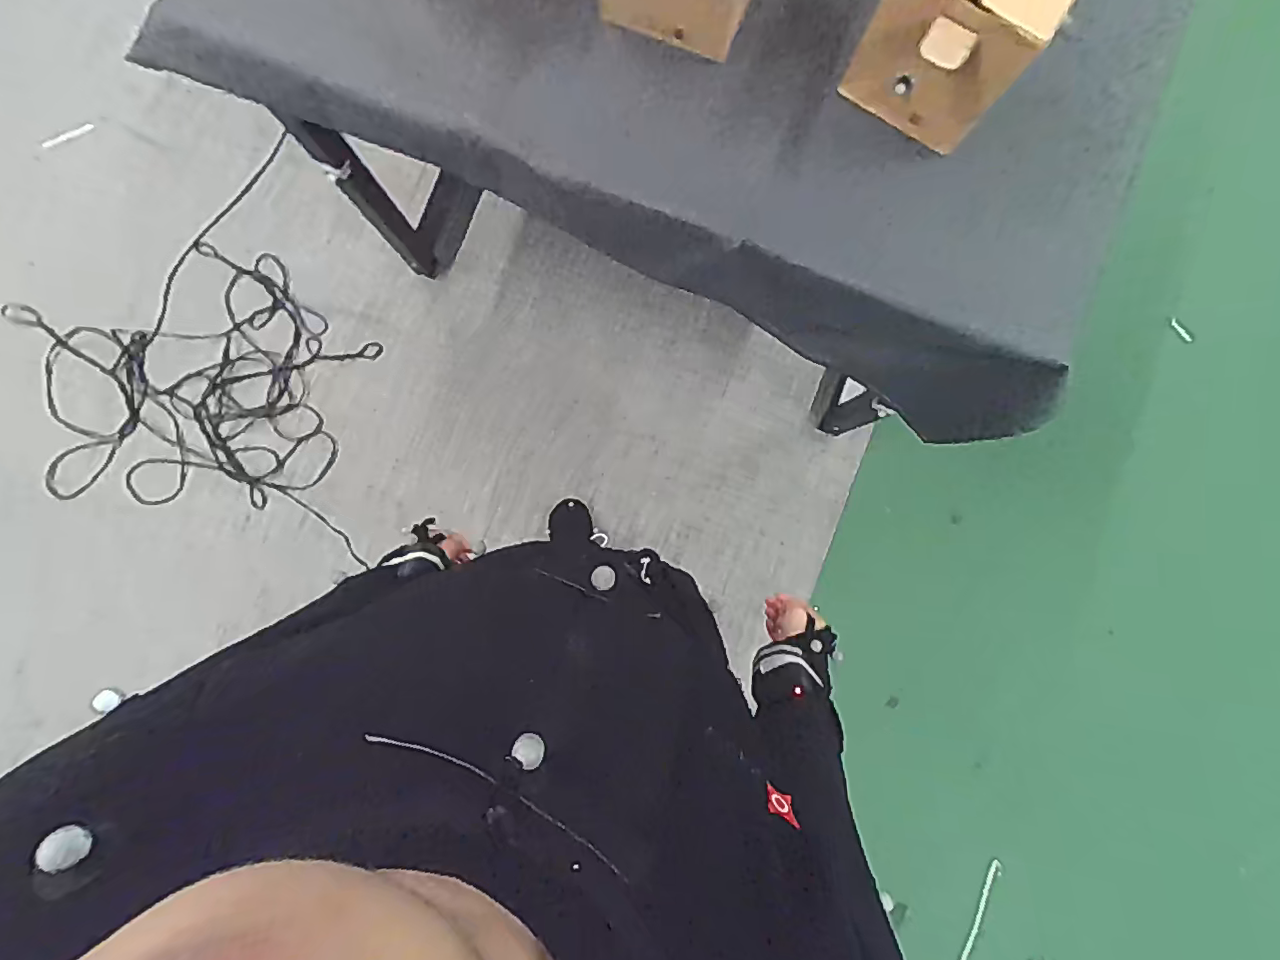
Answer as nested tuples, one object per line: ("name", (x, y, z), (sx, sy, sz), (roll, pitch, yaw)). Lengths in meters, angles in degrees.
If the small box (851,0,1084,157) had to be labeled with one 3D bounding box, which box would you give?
("small box", (0.373, -0.523, 0.612), (0.168, 0.176, 0.179), (32, 86, 1))
